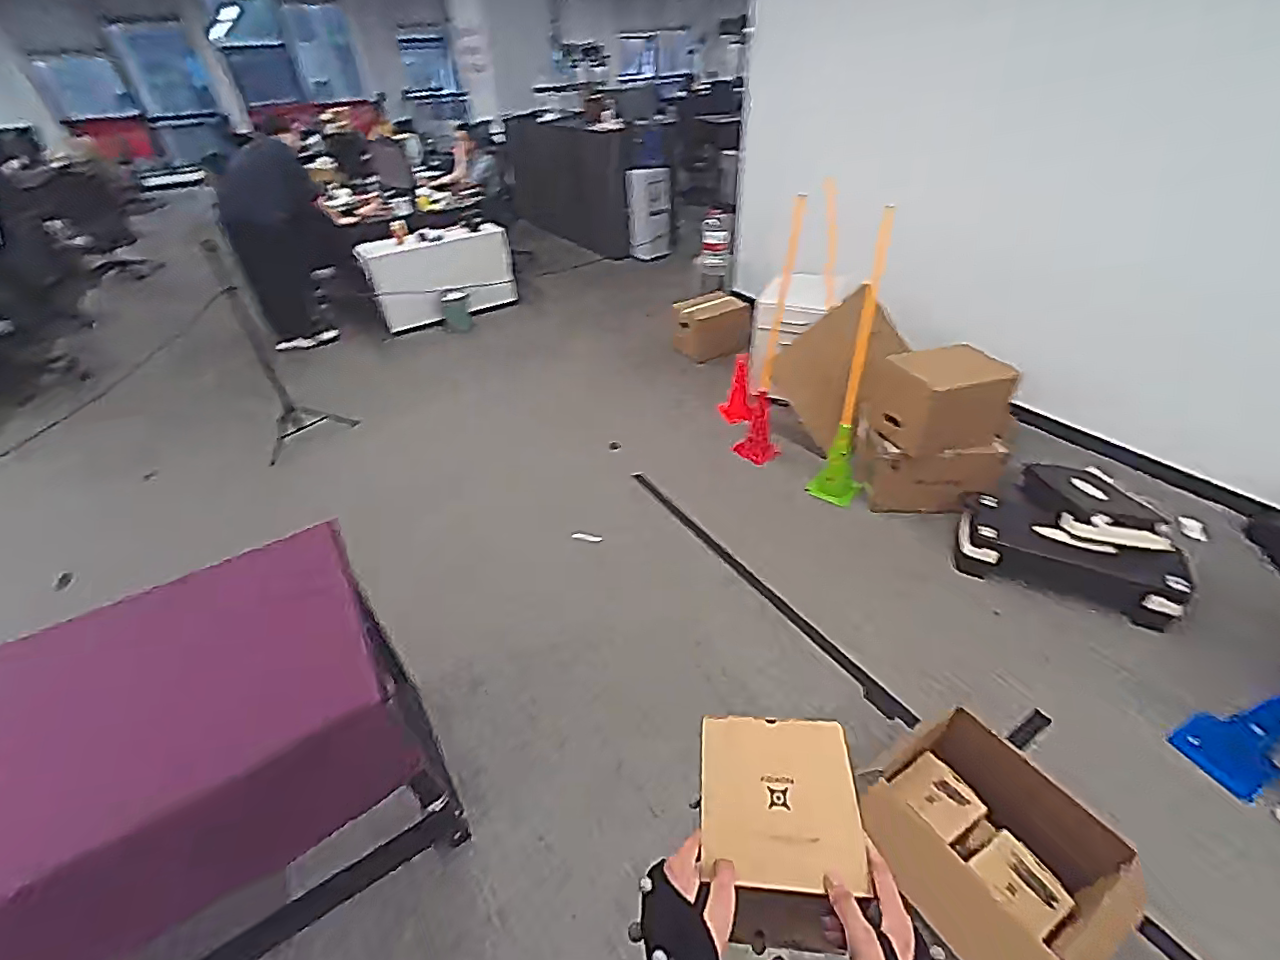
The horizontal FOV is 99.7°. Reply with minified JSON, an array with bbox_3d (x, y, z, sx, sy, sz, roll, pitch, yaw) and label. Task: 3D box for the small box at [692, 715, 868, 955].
[{"bbox_3d":[0.146,0.404,0.627,0.168,0.176,0.179,1,35,7],"label":"small box"}]
